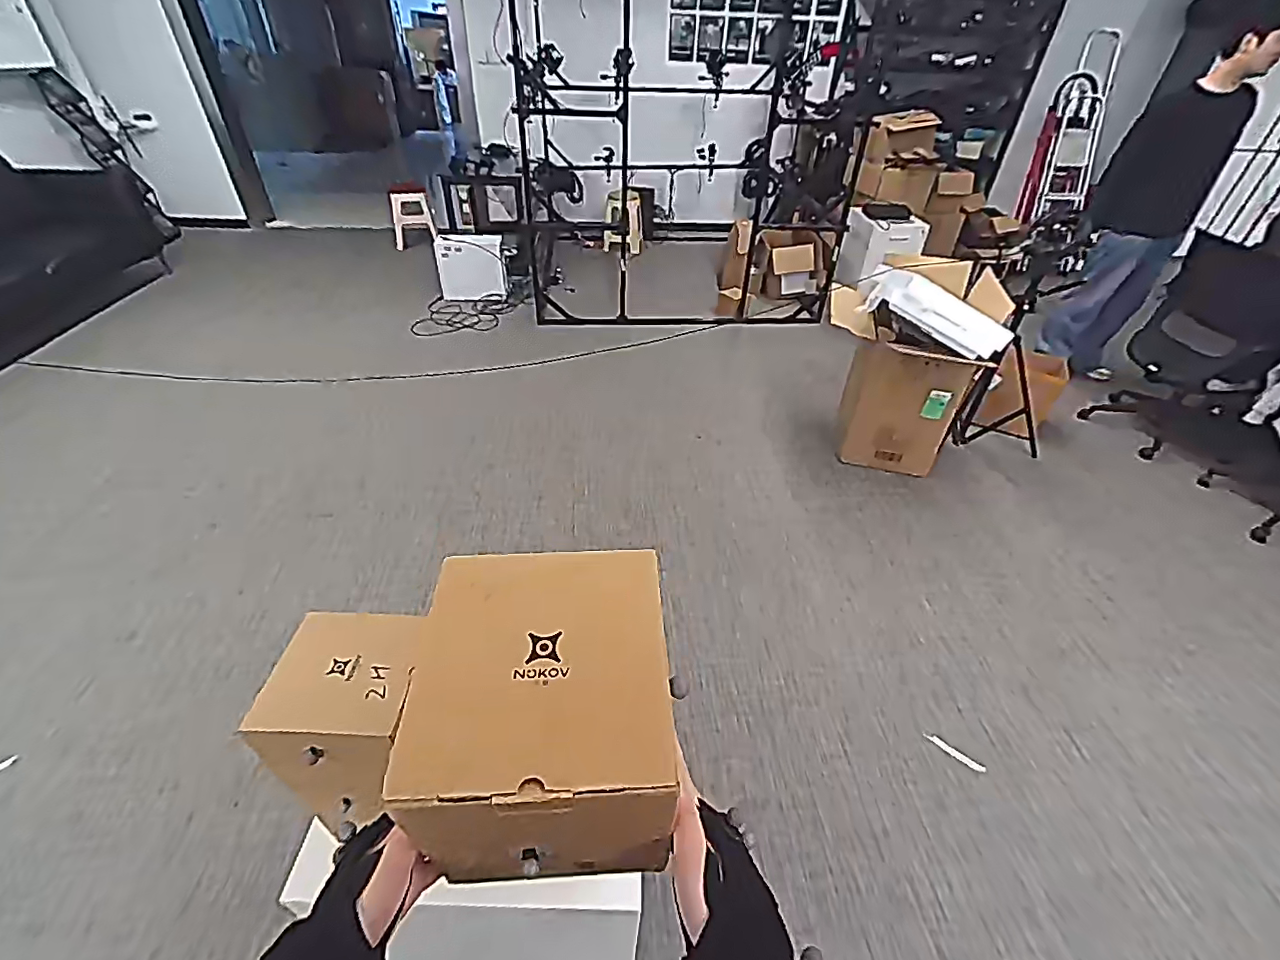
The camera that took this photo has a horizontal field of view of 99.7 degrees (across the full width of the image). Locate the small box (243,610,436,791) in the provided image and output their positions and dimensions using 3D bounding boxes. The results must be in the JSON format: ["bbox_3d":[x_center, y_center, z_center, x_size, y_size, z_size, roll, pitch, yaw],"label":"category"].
[{"bbox_3d":[-0.364,0.295,0.721,0.179,0.176,0.168,3,40,0],"label":"small box"}]

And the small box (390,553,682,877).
[{"bbox_3d":[-0.063,0.176,0.414,0.168,0.176,0.179,-1,43,-3],"label":"small box"}]

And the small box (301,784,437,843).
[{"bbox_3d":[-0.370,0.421,0.827,0.168,0.176,0.179,3,38,1],"label":"small box"}]
